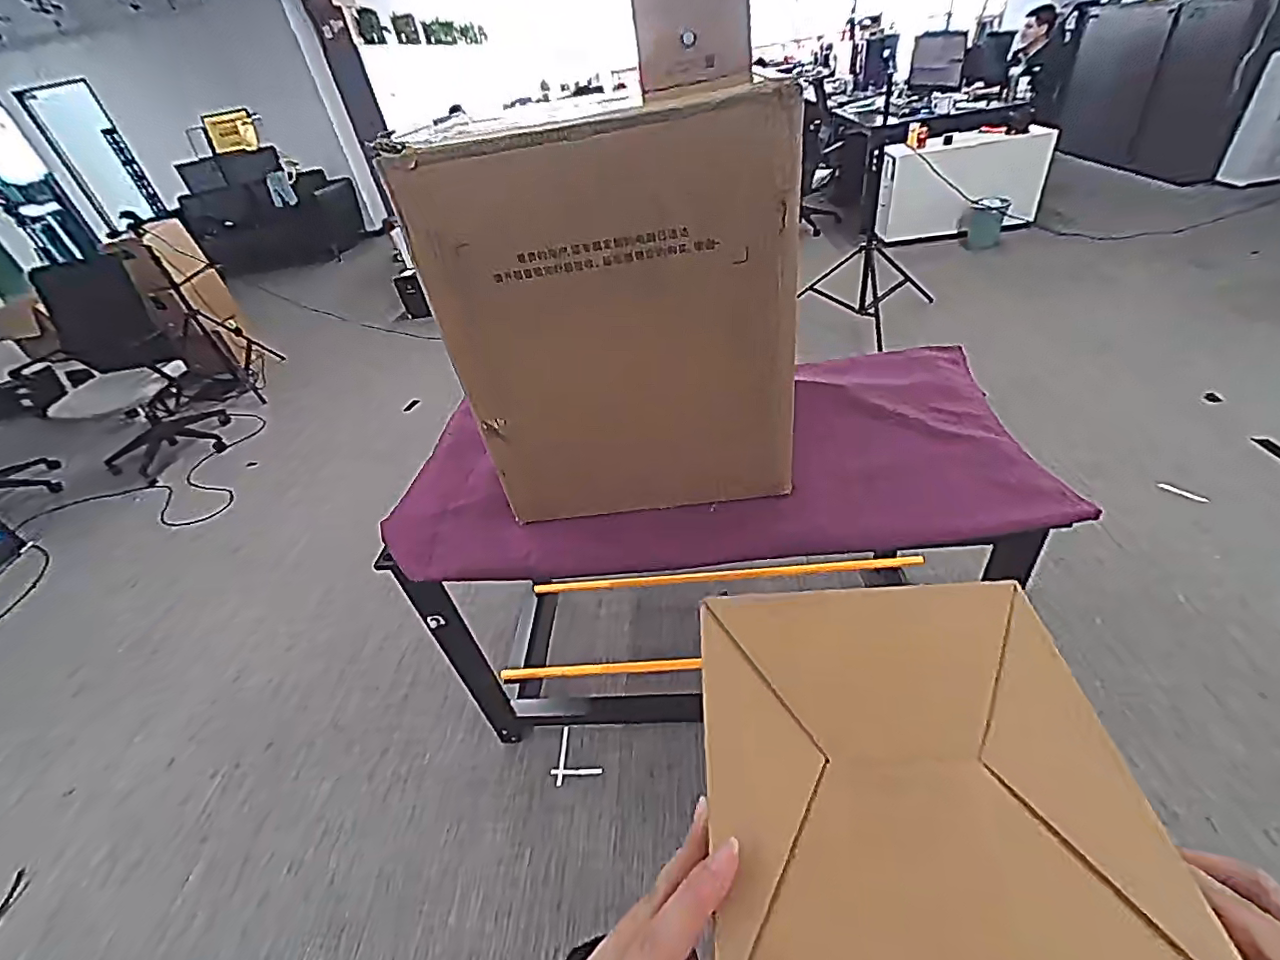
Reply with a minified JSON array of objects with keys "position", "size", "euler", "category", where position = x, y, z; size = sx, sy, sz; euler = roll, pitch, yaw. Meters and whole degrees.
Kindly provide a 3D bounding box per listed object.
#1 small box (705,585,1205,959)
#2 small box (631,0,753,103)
[{"position":[0.124,0.180,0.284],"size":[0.168,0.176,0.179],"euler":[-5,41,8],"category":"small box"},{"position":[0.077,-0.679,0.807],"size":[0.168,0.176,0.179],"euler":[-6,38,8],"category":"small box"}]
